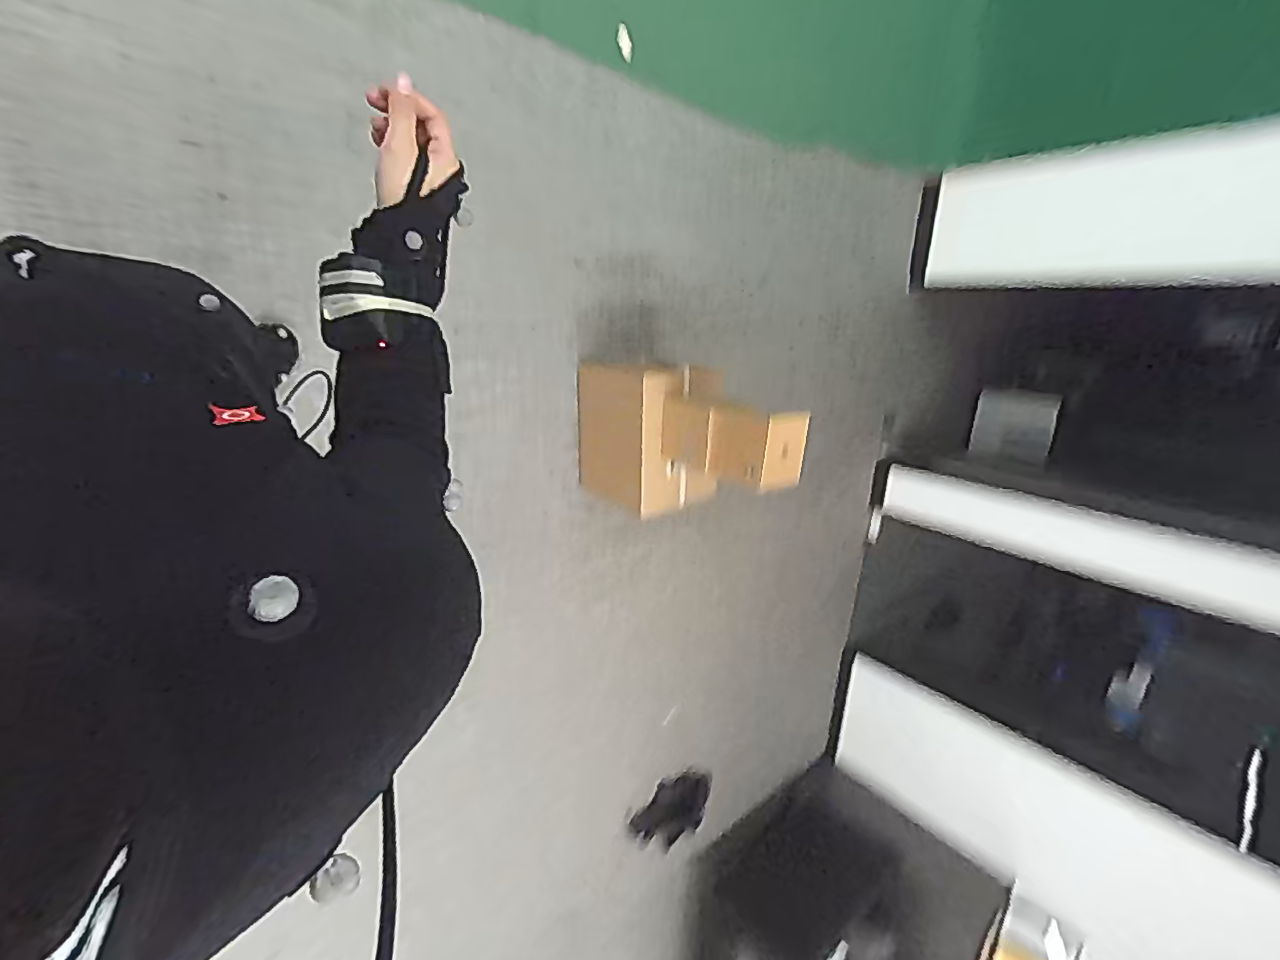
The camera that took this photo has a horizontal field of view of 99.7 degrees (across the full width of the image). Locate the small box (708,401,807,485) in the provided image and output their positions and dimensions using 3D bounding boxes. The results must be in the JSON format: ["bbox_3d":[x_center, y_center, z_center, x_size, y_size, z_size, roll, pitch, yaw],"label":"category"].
[{"bbox_3d":[0.290,-0.102,1.355,0.168,0.176,0.179,-10,113,-39],"label":"small box"}]

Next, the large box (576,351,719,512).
[{"bbox_3d":[0.018,-0.168,1.653,0.320,0.320,0.408,-15,115,-37],"label":"large box"}]
